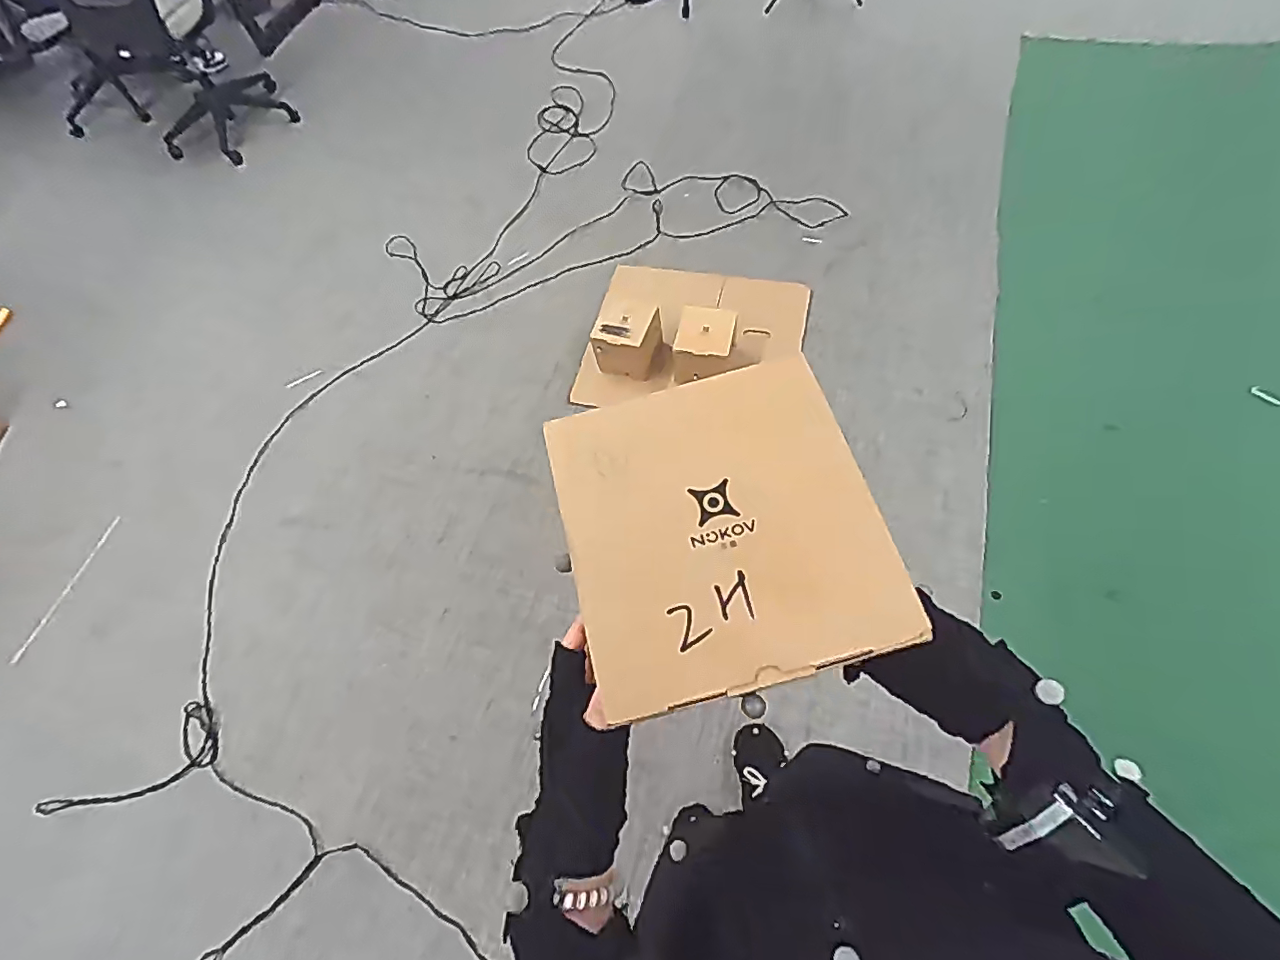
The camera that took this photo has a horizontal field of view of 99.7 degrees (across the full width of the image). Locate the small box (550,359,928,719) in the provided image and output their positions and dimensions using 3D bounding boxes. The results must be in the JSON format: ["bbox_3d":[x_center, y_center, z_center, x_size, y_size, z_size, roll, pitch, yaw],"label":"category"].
[{"bbox_3d":[0.049,0.052,0.367,0.168,0.176,0.179,-15,66,0],"label":"small box"}]

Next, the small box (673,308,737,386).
[{"bbox_3d":[0.200,-0.401,1.672,0.168,0.176,0.179,9,66,11],"label":"small box"}]
